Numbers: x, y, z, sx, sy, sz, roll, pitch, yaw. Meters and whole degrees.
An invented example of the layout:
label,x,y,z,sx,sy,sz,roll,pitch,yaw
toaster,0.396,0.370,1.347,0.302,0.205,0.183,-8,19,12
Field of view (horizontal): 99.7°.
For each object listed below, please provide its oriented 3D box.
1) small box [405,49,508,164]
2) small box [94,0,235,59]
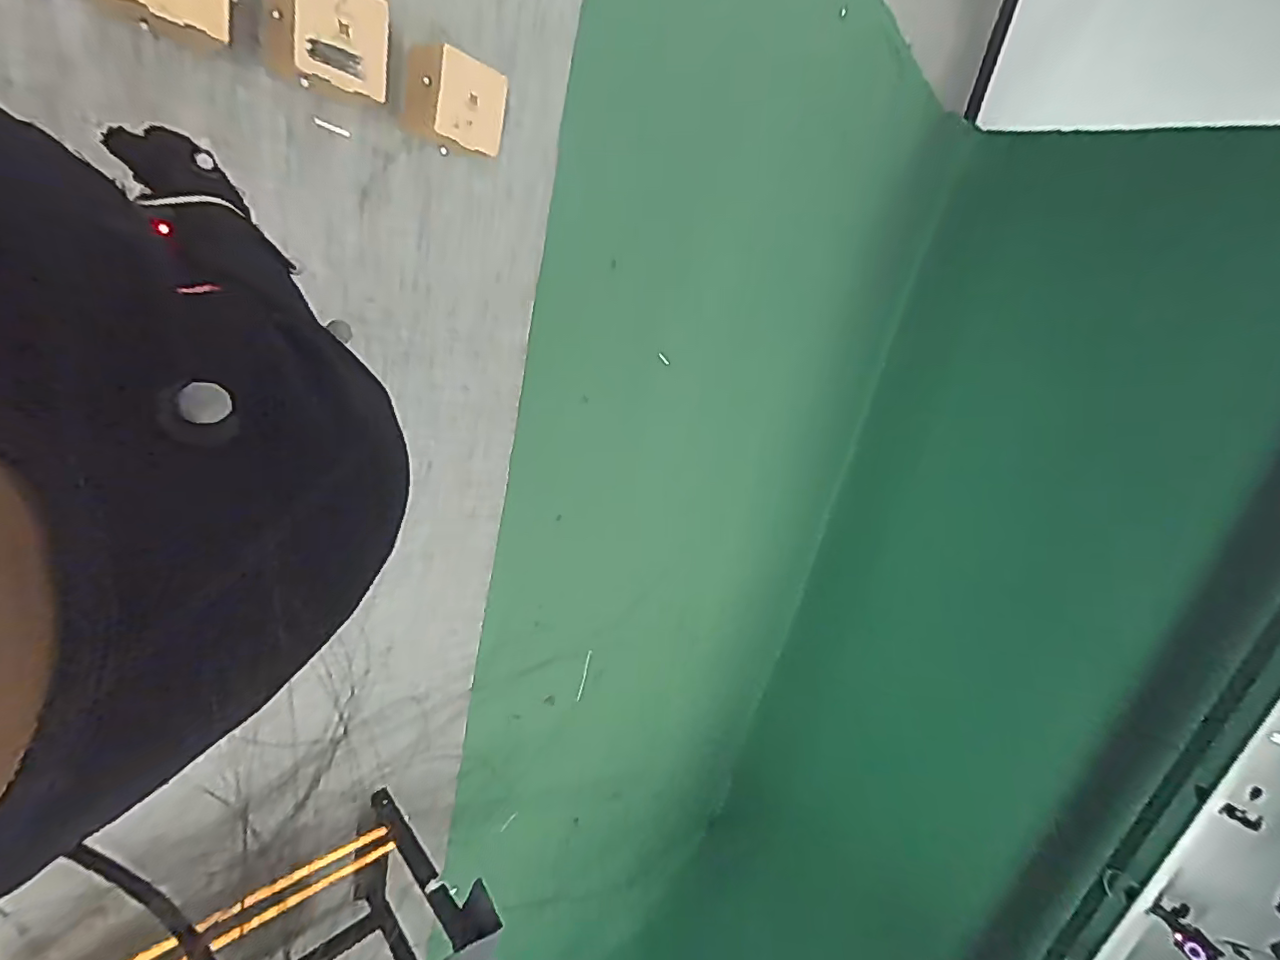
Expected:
label,x,y,z,sx,sy,sz,roll,pitch,yaw
small box,-0.444,-0.885,1.297,0.168,0.176,0.179,-4,115,-47
small box,-0.799,-0.851,0.905,0.168,0.176,0.179,-4,115,-47
